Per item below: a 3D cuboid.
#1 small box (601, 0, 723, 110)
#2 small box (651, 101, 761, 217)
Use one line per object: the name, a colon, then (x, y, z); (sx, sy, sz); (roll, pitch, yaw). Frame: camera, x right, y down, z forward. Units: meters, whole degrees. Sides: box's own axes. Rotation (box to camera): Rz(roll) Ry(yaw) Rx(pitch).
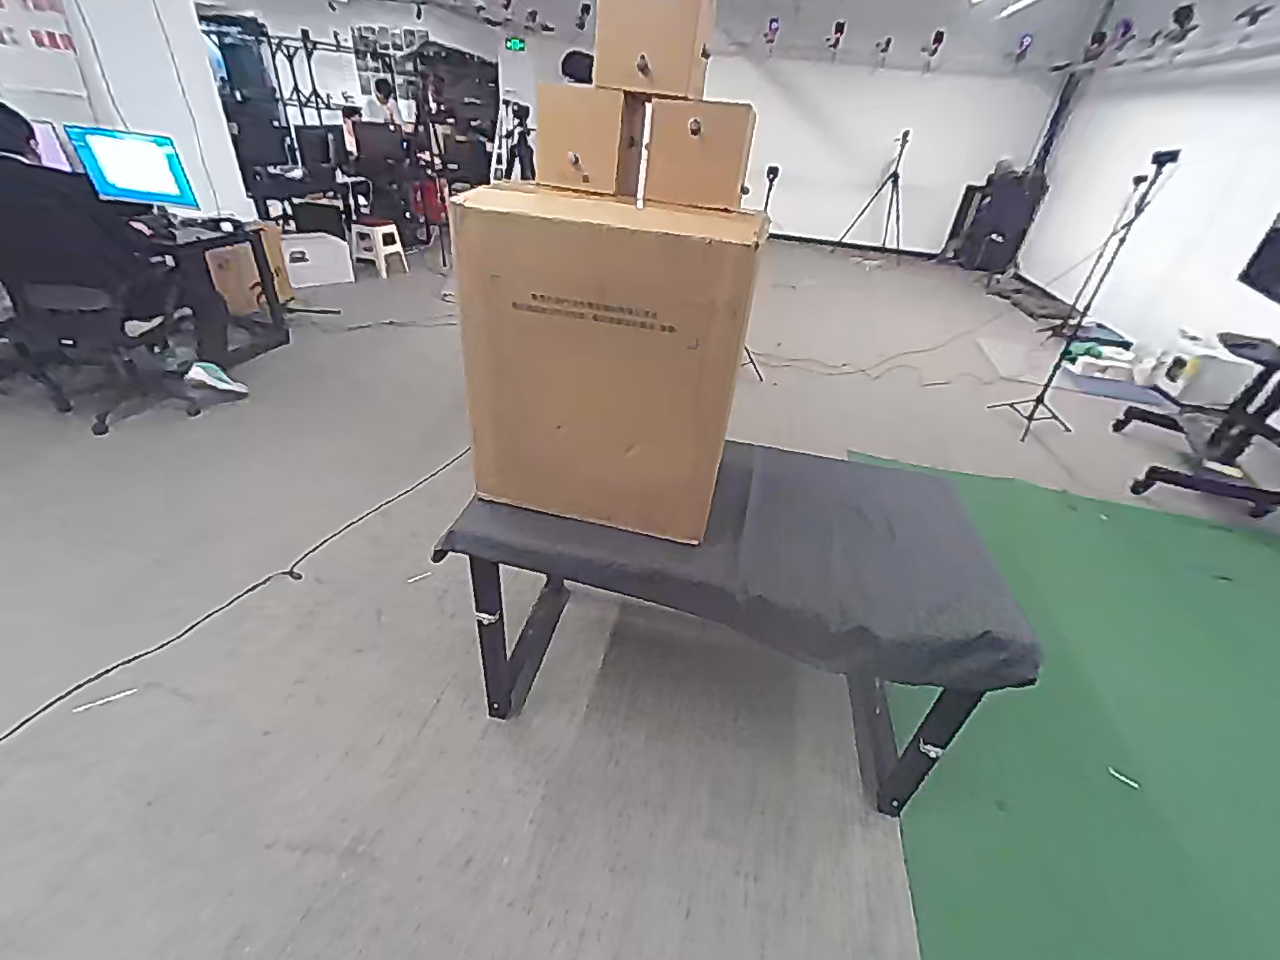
small box: (0.040, -0.779, 0.983); (0.179, 0.176, 0.168); (14, 30, 9)
small box: (0.127, -0.611, 1.044); (0.179, 0.176, 0.168); (13, 31, 8)
